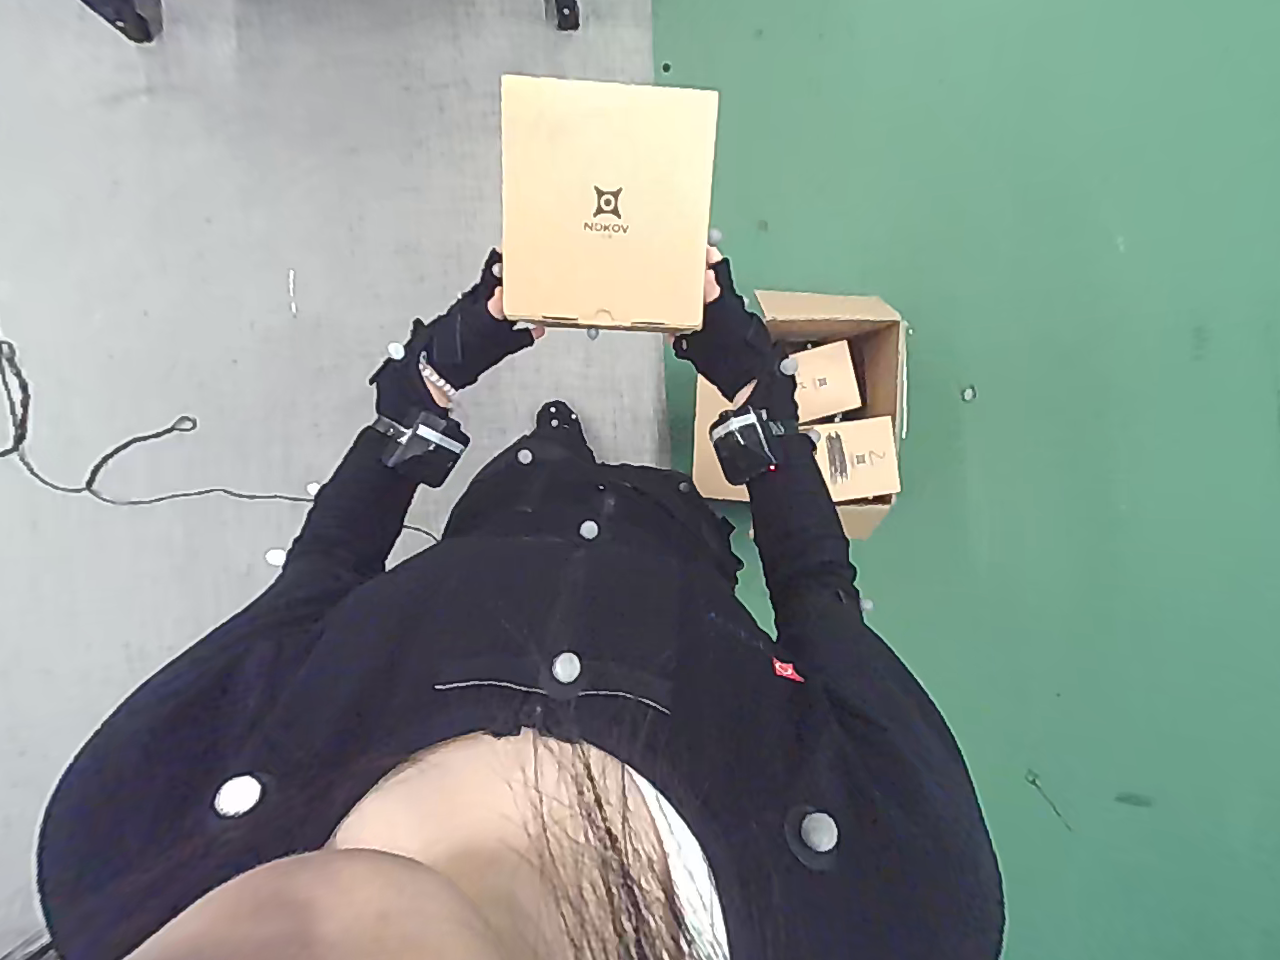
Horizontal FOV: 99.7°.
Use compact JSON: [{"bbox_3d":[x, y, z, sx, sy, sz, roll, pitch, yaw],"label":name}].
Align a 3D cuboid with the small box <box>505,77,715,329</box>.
[{"bbox_3d":[-0.032,-0.240,0.515,0.168,0.176,0.179,2,106,-4],"label":"small box"}]
